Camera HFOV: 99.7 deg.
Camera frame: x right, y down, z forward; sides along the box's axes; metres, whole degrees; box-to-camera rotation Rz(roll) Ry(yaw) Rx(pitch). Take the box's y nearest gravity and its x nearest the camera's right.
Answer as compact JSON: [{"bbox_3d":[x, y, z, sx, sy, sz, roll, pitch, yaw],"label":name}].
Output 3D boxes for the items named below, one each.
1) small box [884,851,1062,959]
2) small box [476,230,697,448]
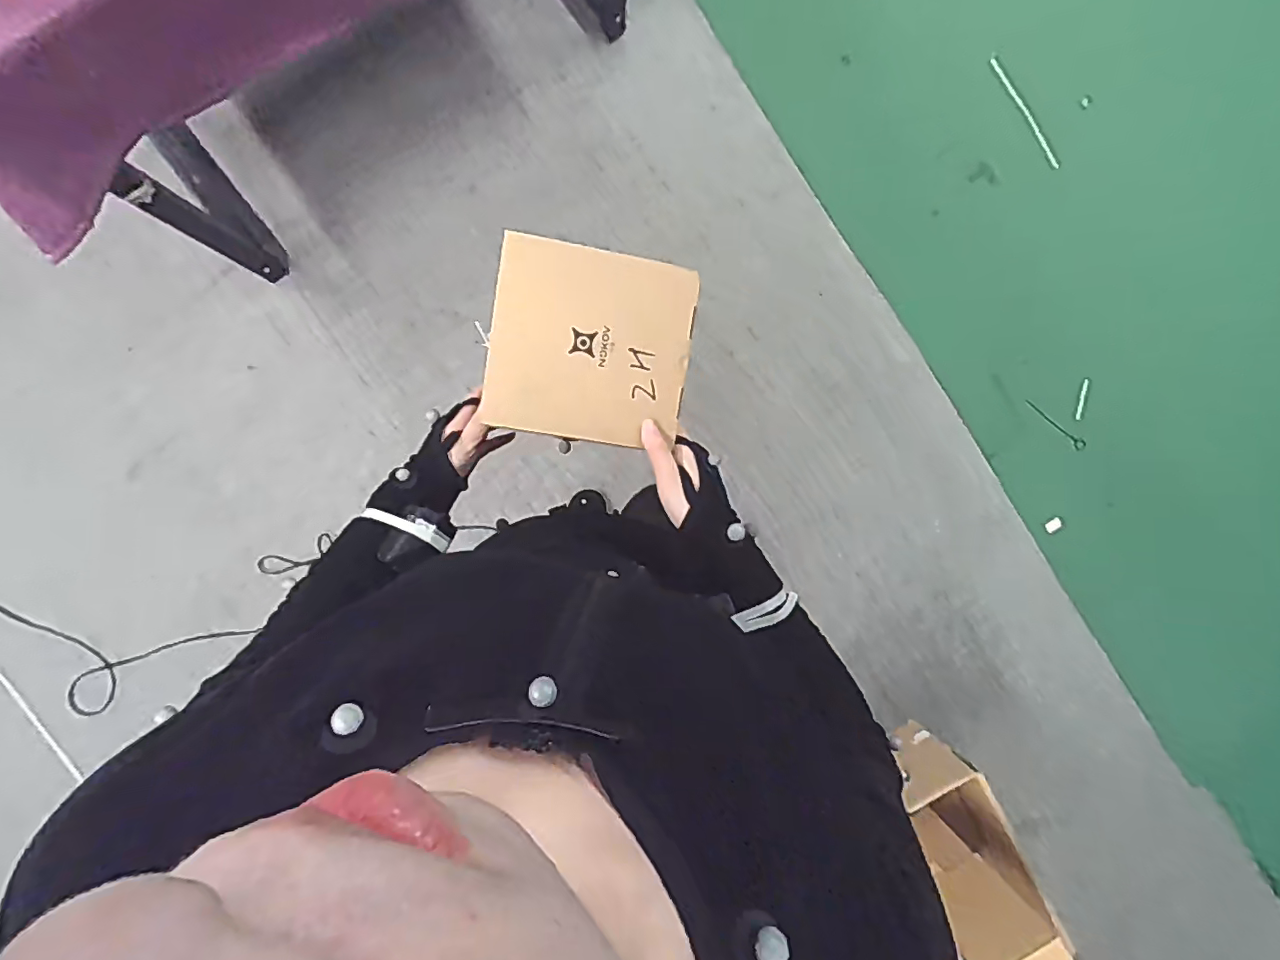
[{"bbox_3d":[0.520,0.730,0.834,0.179,0.176,0.168,-29,93,-2],"label":"small box"},{"bbox_3d":[-0.058,-0.127,0.554,0.179,0.176,0.168,8,94,-10],"label":"small box"}]
